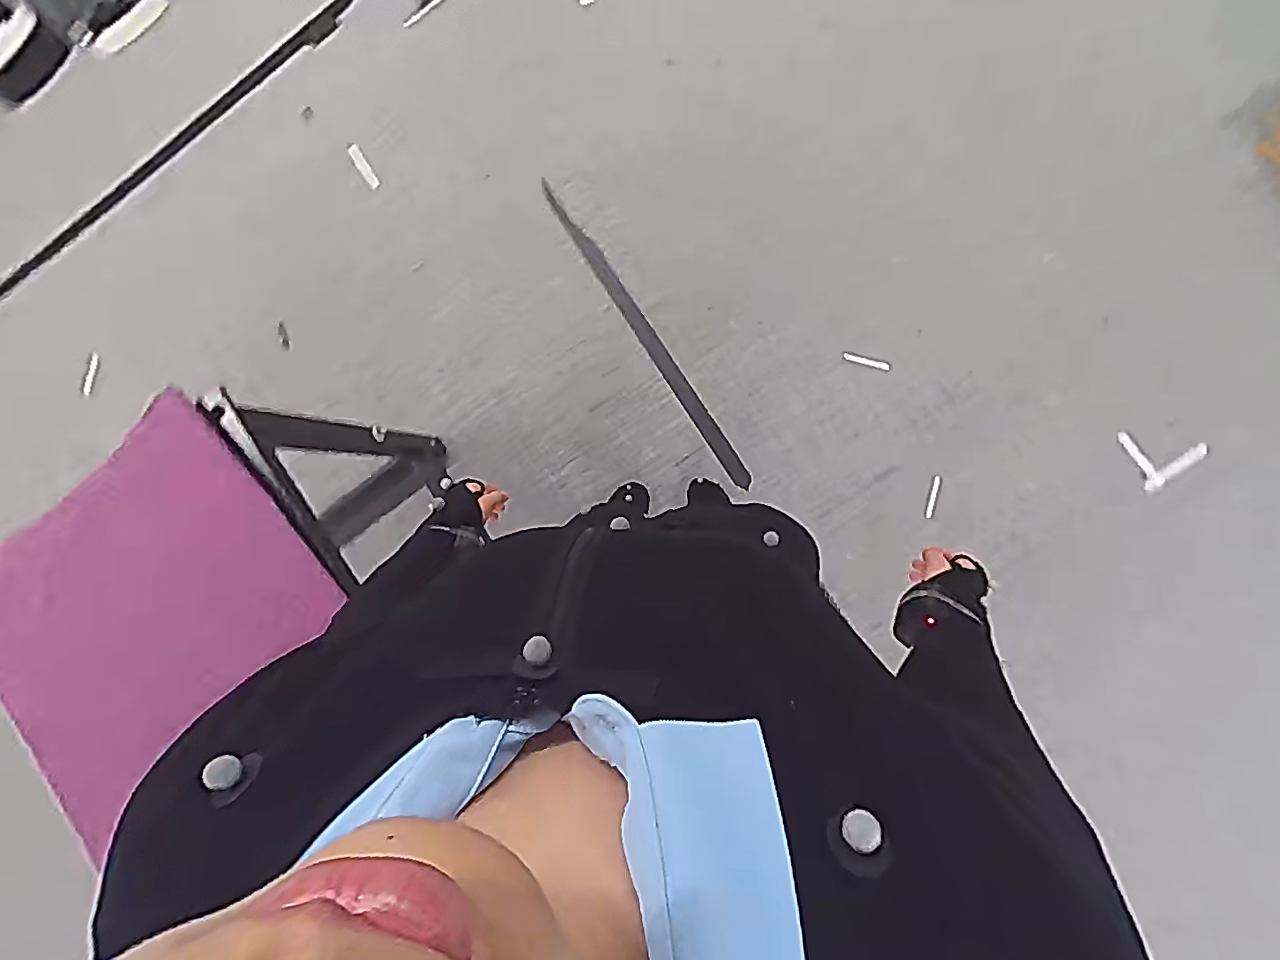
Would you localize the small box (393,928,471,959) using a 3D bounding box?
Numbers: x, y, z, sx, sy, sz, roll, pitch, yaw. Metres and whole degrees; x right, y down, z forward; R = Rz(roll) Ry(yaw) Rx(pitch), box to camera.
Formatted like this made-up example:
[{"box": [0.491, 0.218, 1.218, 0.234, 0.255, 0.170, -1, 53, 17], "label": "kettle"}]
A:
[{"box": [-0.308, 0.751, 0.697, 0.179, 0.176, 0.168, -38, 85, 4], "label": "small box"}]

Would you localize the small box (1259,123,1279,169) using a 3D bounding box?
[{"box": [1.642, -0.834, 1.257, 0.179, 0.176, 0.168, -40, 85, 4], "label": "small box"}]
